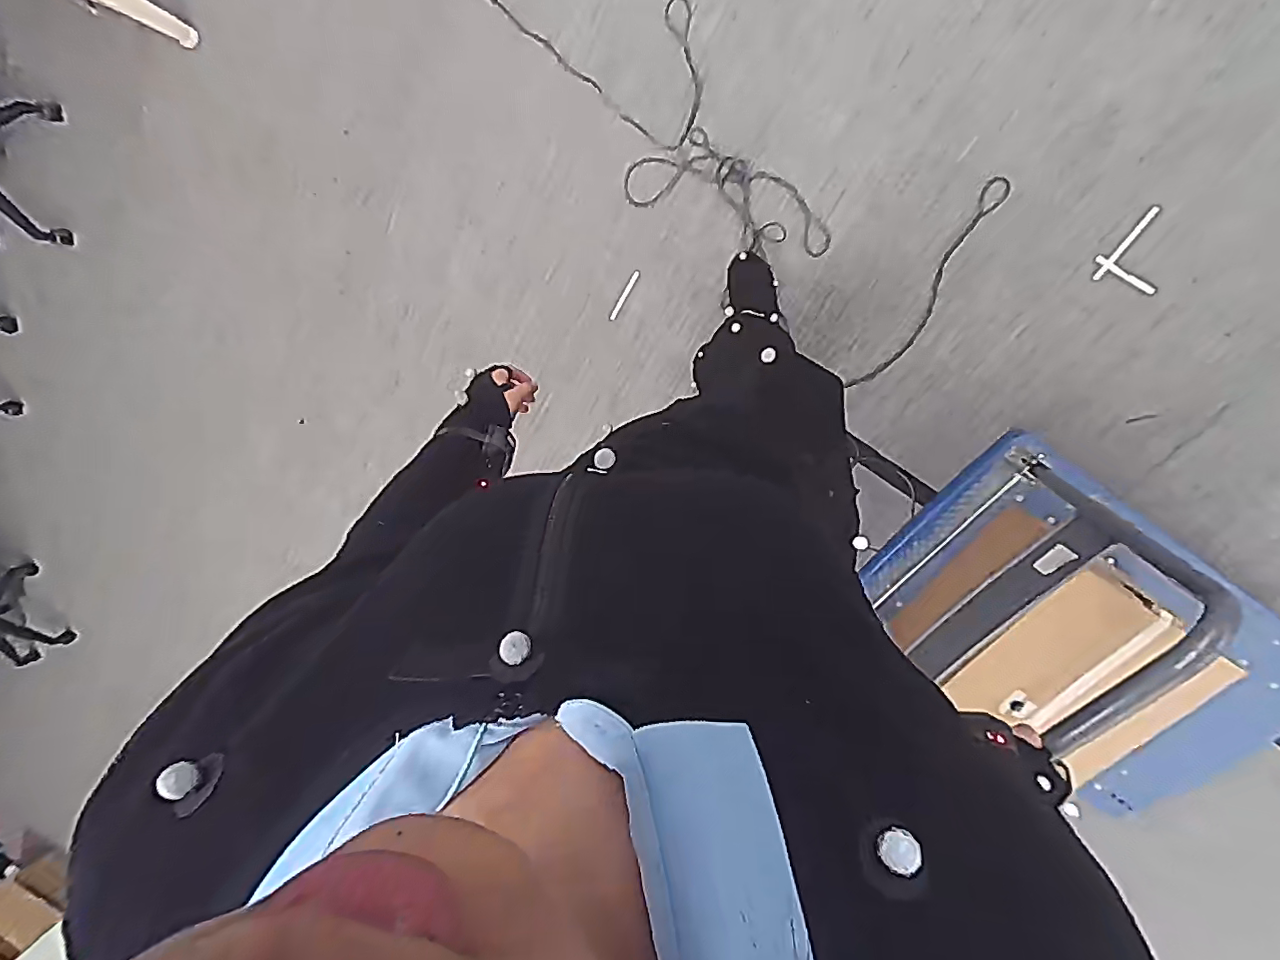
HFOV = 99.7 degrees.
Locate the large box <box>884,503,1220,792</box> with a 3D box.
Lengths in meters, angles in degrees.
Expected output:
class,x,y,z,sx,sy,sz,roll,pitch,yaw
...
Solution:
class,x,y,z,sx,sy,sz,roll,pitch,yaw
large box,0.781,0.325,1.112,0.320,0.320,0.408,34,114,3
